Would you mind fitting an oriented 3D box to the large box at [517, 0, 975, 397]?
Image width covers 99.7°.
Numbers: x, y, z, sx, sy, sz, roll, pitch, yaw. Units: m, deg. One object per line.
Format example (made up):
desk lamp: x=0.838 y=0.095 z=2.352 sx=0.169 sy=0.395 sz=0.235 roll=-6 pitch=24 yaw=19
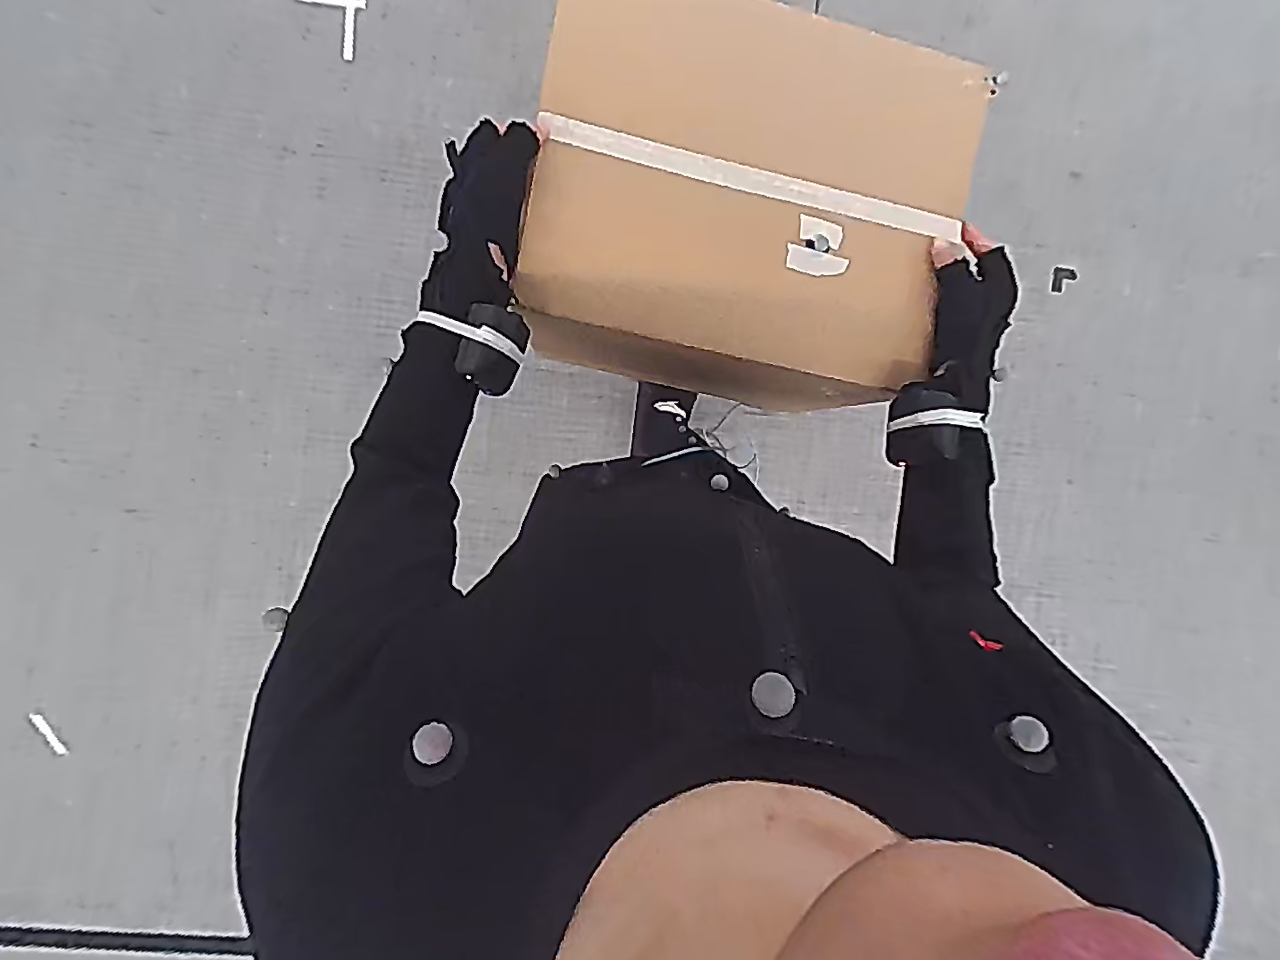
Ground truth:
large box: x=0.088 y=-0.297 z=0.656 sx=0.408 sy=0.320 sz=0.320 roll=11 pitch=94 yaw=-7
